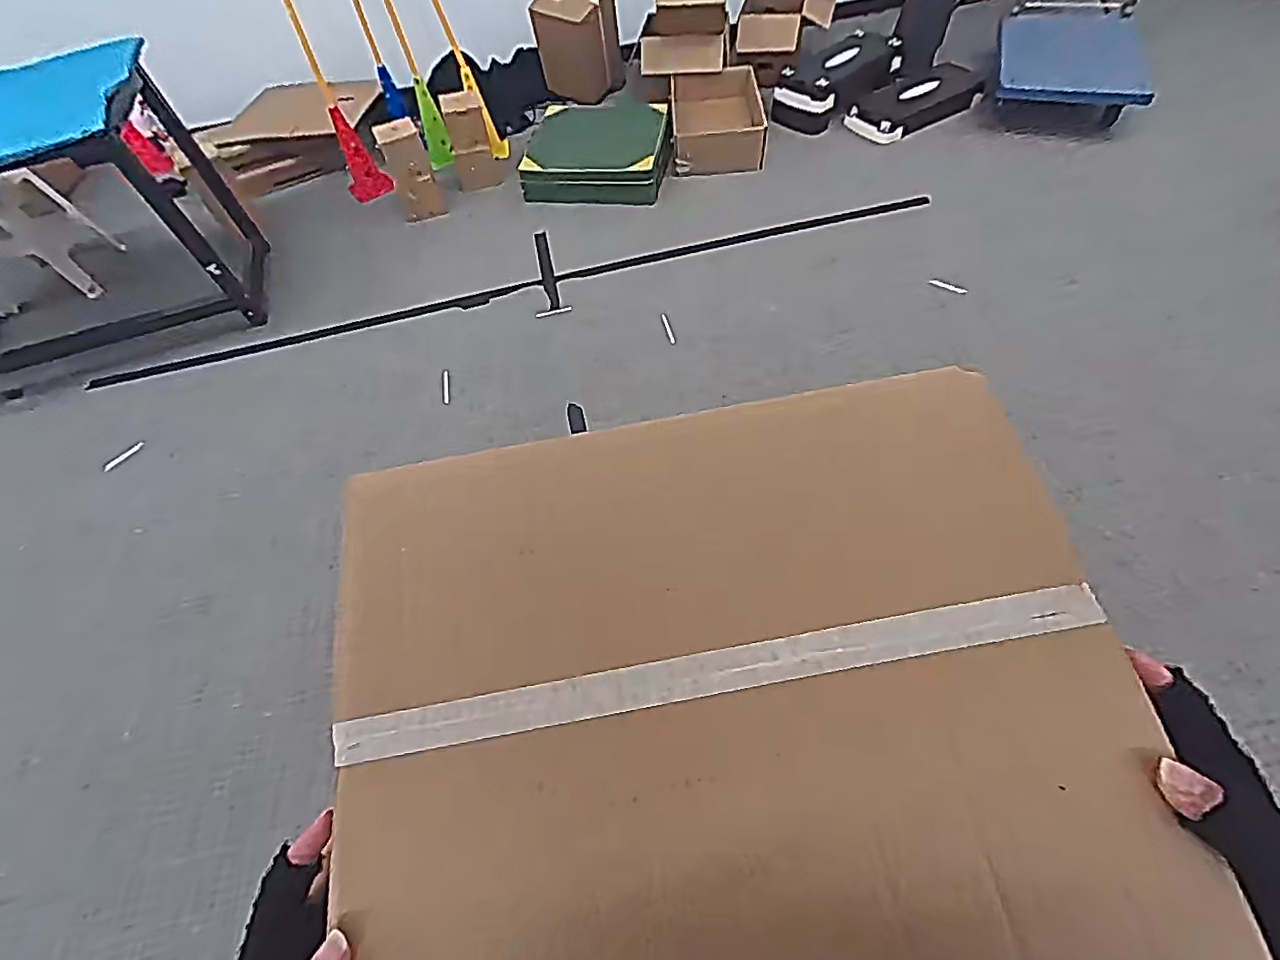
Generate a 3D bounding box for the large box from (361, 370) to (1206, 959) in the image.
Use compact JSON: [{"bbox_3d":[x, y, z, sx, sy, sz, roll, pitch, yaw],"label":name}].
[{"bbox_3d":[0.050,0.159,0.440,0.408,0.320,0.320,-11,68,0],"label":"large box"}]
